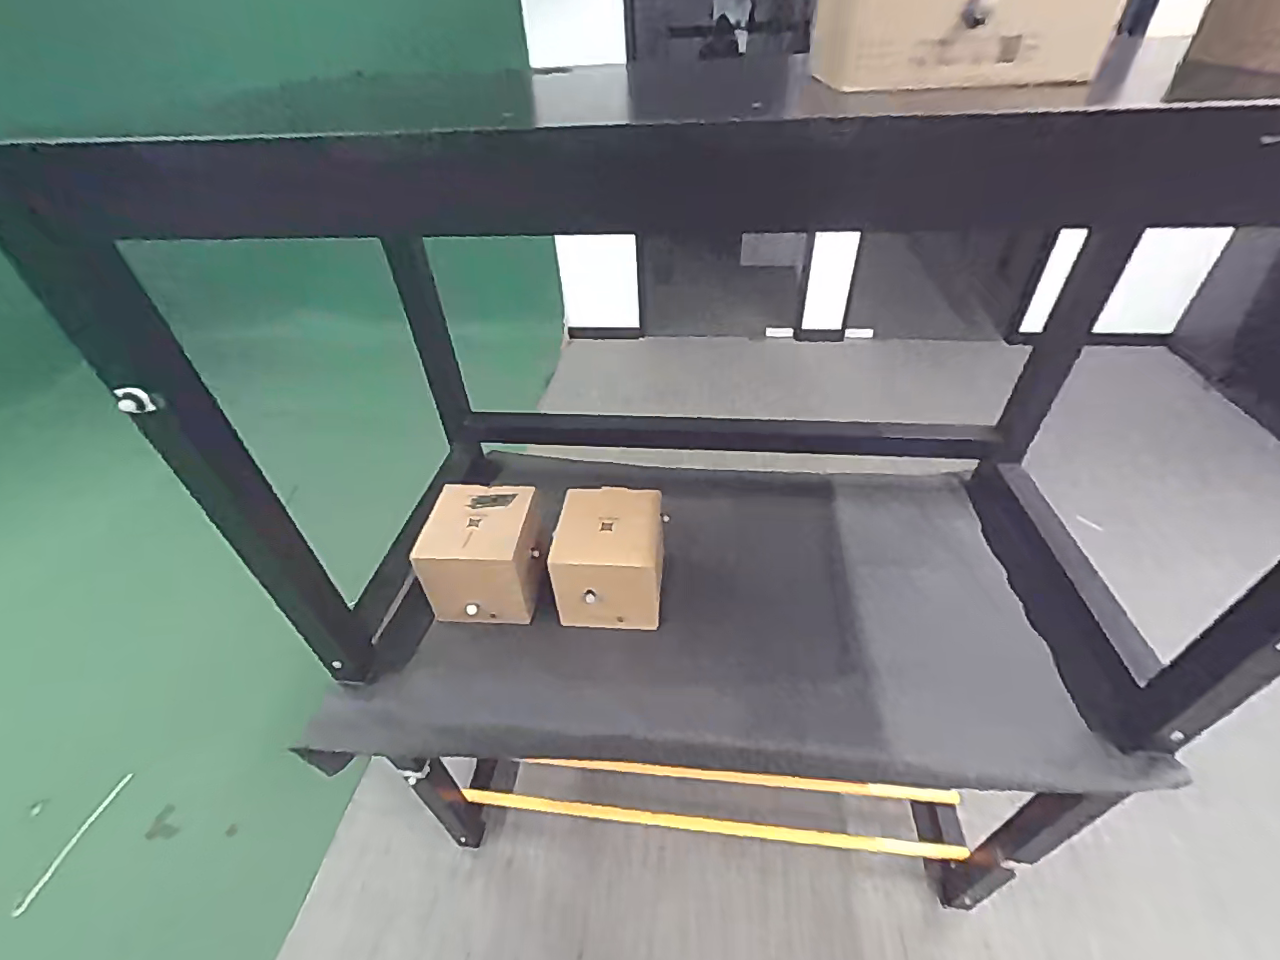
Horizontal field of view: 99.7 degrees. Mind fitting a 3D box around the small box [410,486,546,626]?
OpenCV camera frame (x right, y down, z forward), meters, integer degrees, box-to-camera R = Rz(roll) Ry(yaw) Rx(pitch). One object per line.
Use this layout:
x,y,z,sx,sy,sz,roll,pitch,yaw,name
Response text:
-0.268,0.130,0.944,0.168,0.176,0.179,0,40,5,small box
